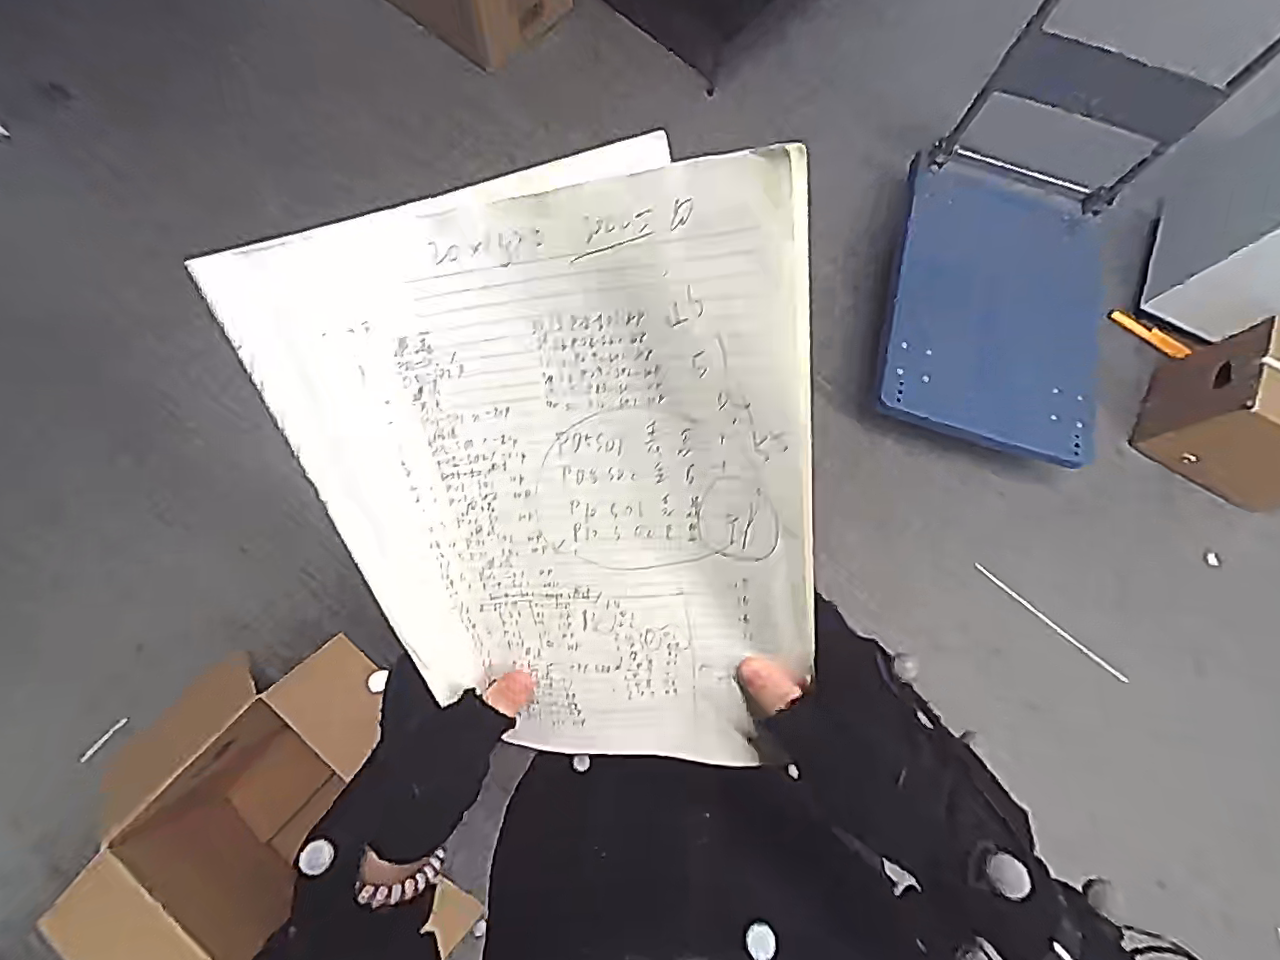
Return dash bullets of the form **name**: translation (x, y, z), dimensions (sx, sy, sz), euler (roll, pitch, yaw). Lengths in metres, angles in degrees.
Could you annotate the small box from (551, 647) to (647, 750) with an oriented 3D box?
- **small box**: translation (-0.092, 0.491, 1.233), dimensions (0.179, 0.176, 0.168), euler (7, 85, 13)
